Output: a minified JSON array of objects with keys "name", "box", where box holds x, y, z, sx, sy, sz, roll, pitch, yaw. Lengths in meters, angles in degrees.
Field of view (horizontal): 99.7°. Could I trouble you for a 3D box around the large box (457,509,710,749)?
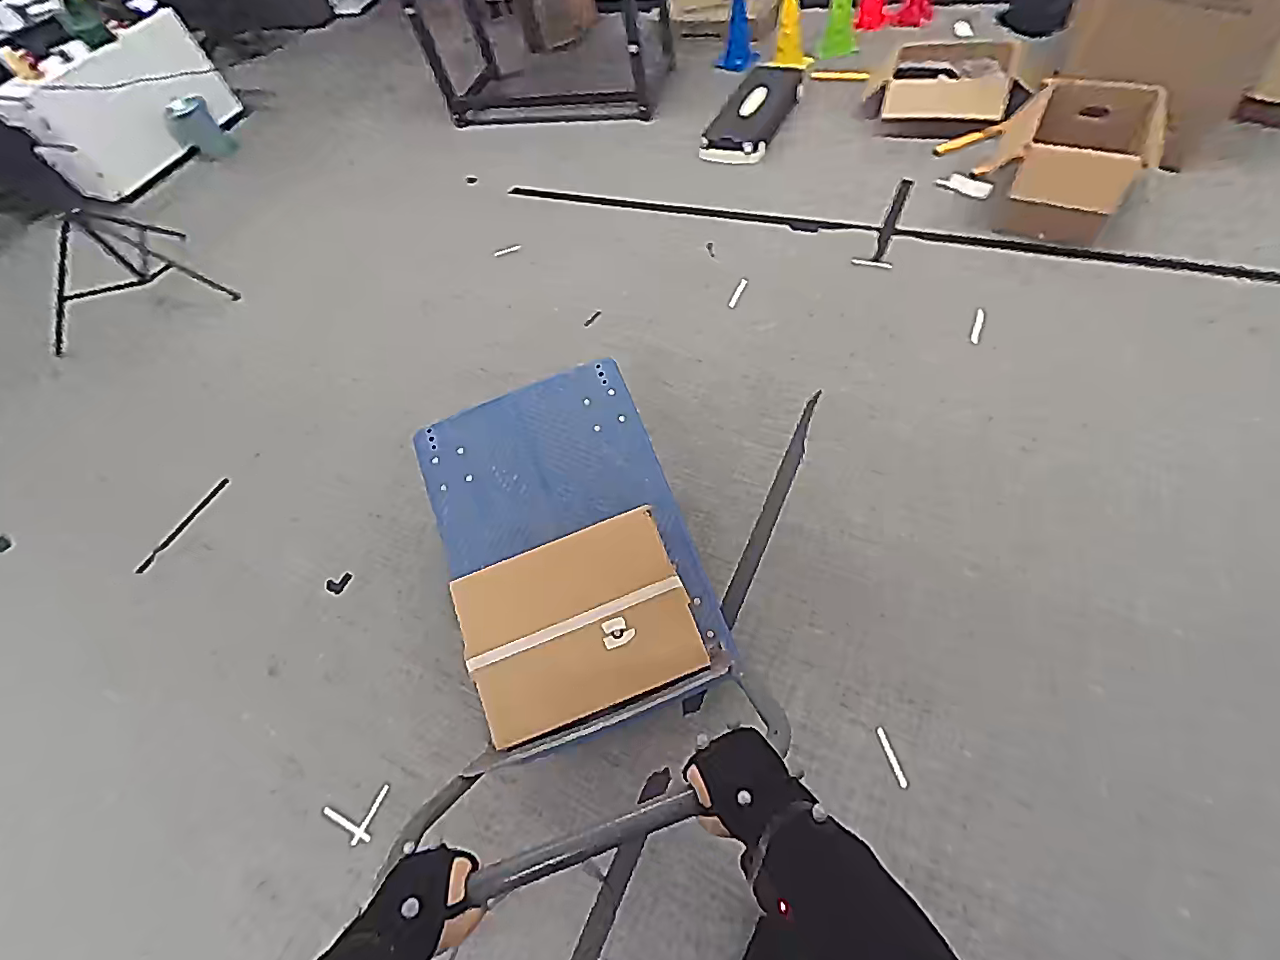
[{"name":"large box","box":[-0.105,0.308,1.142,0.408,0.320,0.320,-22,74,-4]}]
